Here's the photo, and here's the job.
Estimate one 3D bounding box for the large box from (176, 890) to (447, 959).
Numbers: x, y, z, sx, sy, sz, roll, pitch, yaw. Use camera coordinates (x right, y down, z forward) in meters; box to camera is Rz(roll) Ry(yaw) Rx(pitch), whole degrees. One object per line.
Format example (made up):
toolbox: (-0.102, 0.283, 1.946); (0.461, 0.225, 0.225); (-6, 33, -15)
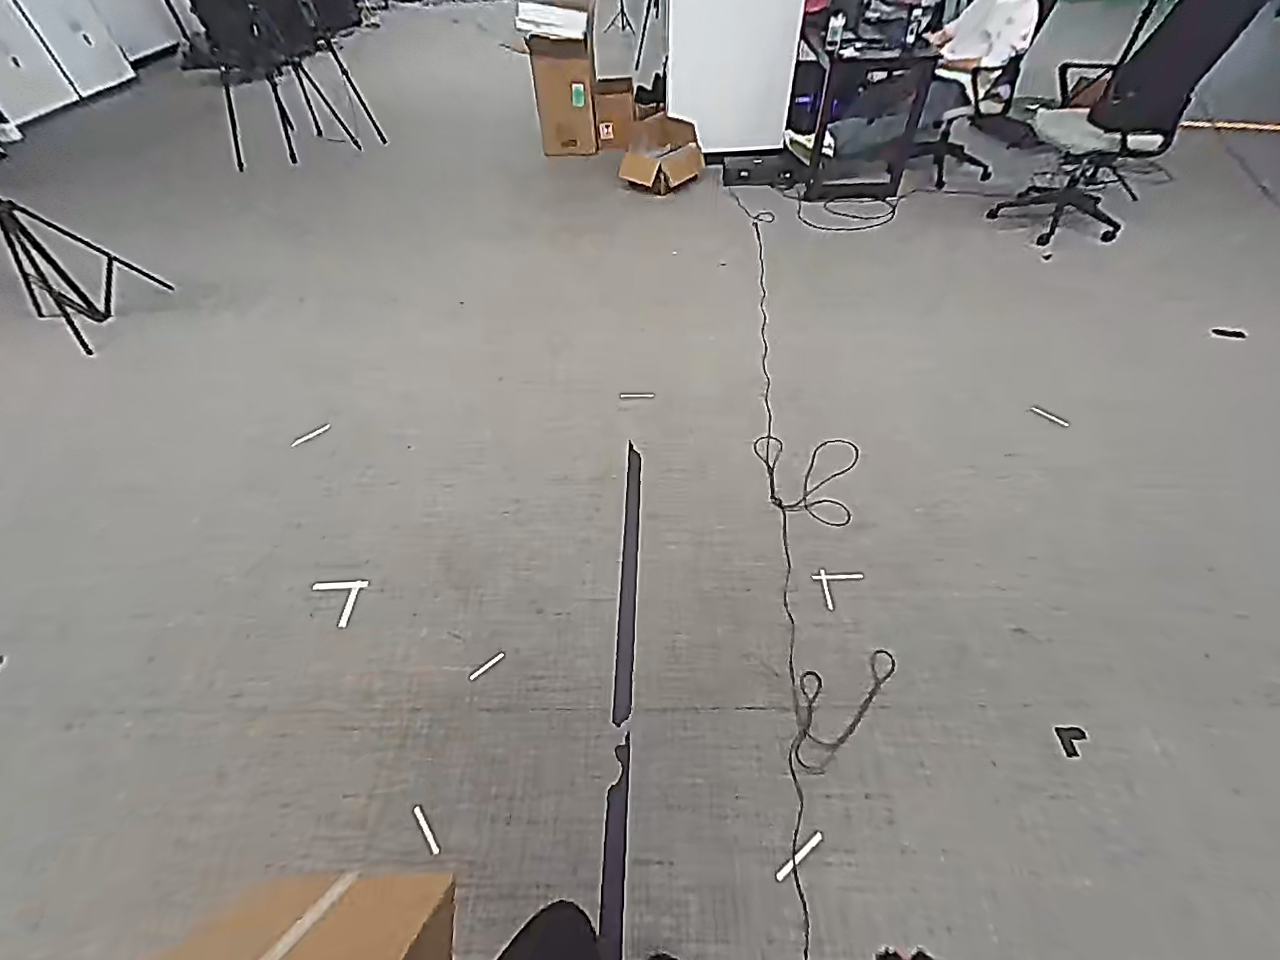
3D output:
large box: (-0.448, 0.757, 0.630); (0.320, 0.408, 0.320); (-2, 77, -1)
